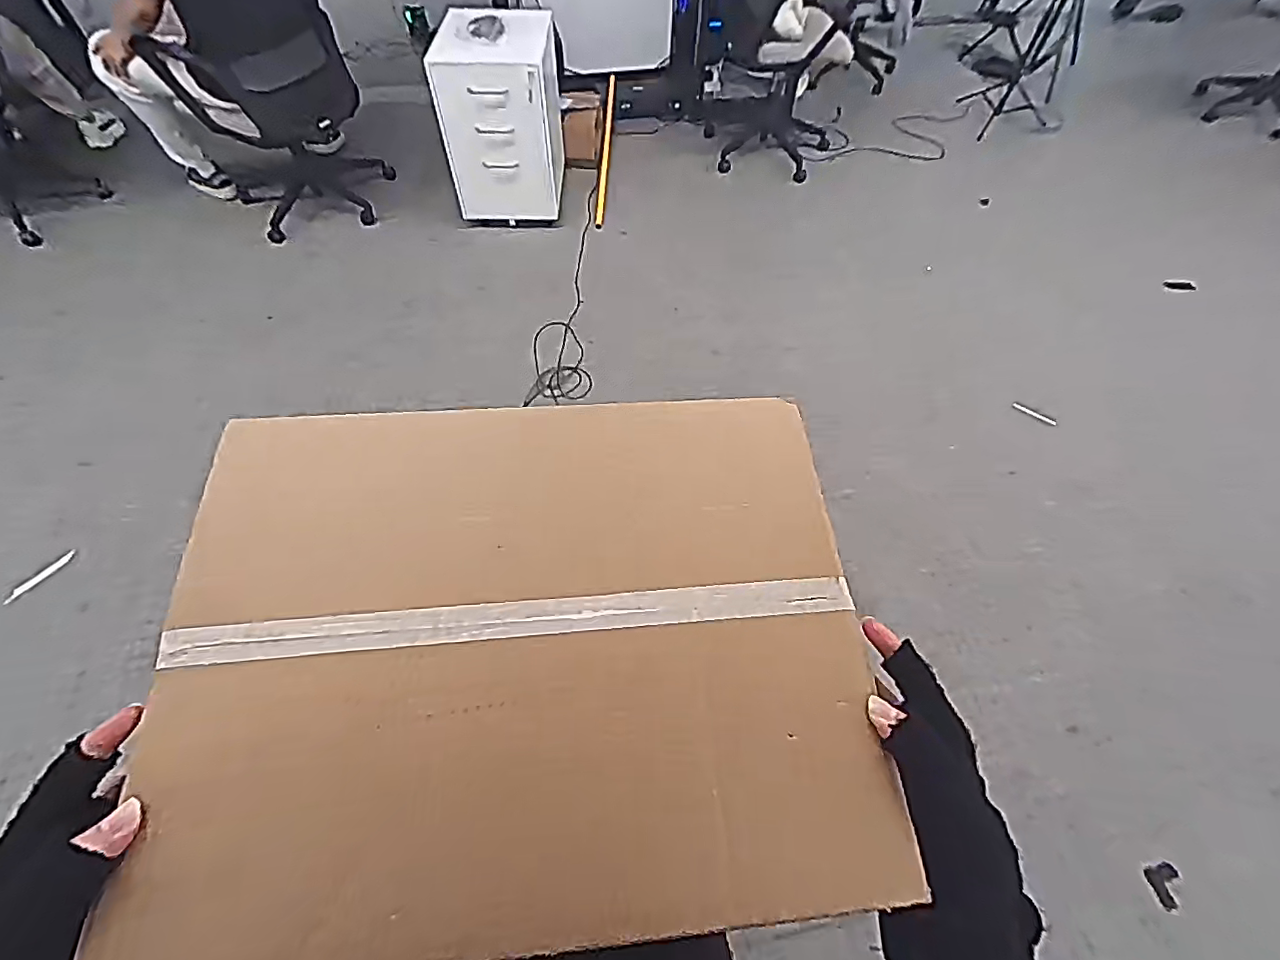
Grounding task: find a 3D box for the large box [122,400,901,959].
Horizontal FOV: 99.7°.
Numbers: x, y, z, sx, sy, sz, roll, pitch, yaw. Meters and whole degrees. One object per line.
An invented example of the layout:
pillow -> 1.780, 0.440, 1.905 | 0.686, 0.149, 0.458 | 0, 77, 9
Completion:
large box -> -0.077, 0.153, 0.474 | 0.408, 0.320, 0.320 | -3, 64, -6
